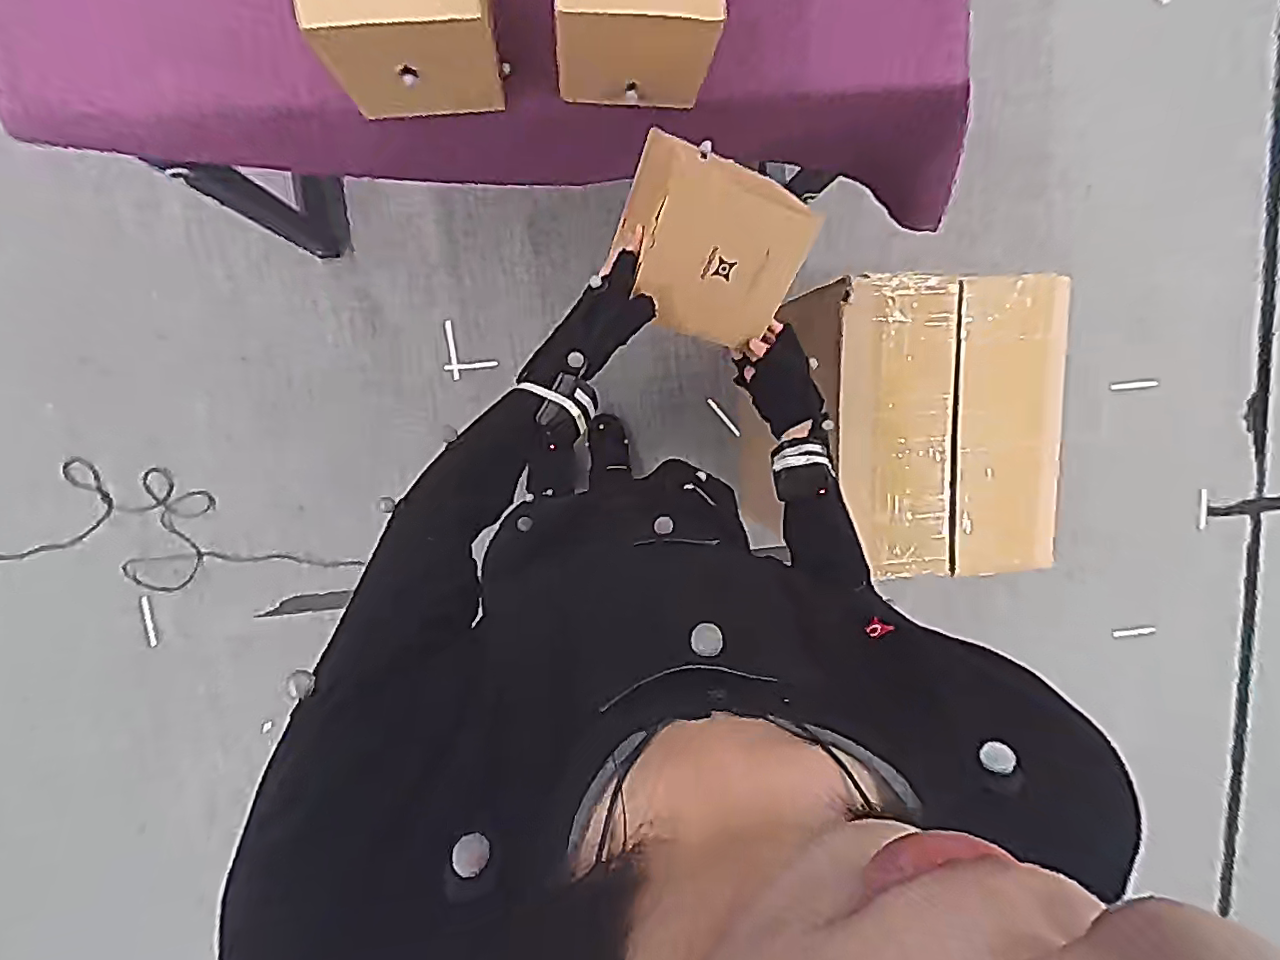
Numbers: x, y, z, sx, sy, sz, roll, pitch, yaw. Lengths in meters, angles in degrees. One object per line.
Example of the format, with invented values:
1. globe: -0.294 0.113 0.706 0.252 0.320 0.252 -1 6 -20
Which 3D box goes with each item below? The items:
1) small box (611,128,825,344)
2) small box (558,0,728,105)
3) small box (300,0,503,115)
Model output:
1. small box: 0.074 -0.290 0.639 0.179 0.176 0.168 10 129 -20
2. small box: -0.005 -0.563 0.619 0.179 0.176 0.168 -2 97 -7
3. small box: -0.254 -0.534 0.595 0.179 0.176 0.168 -7 97 -4
